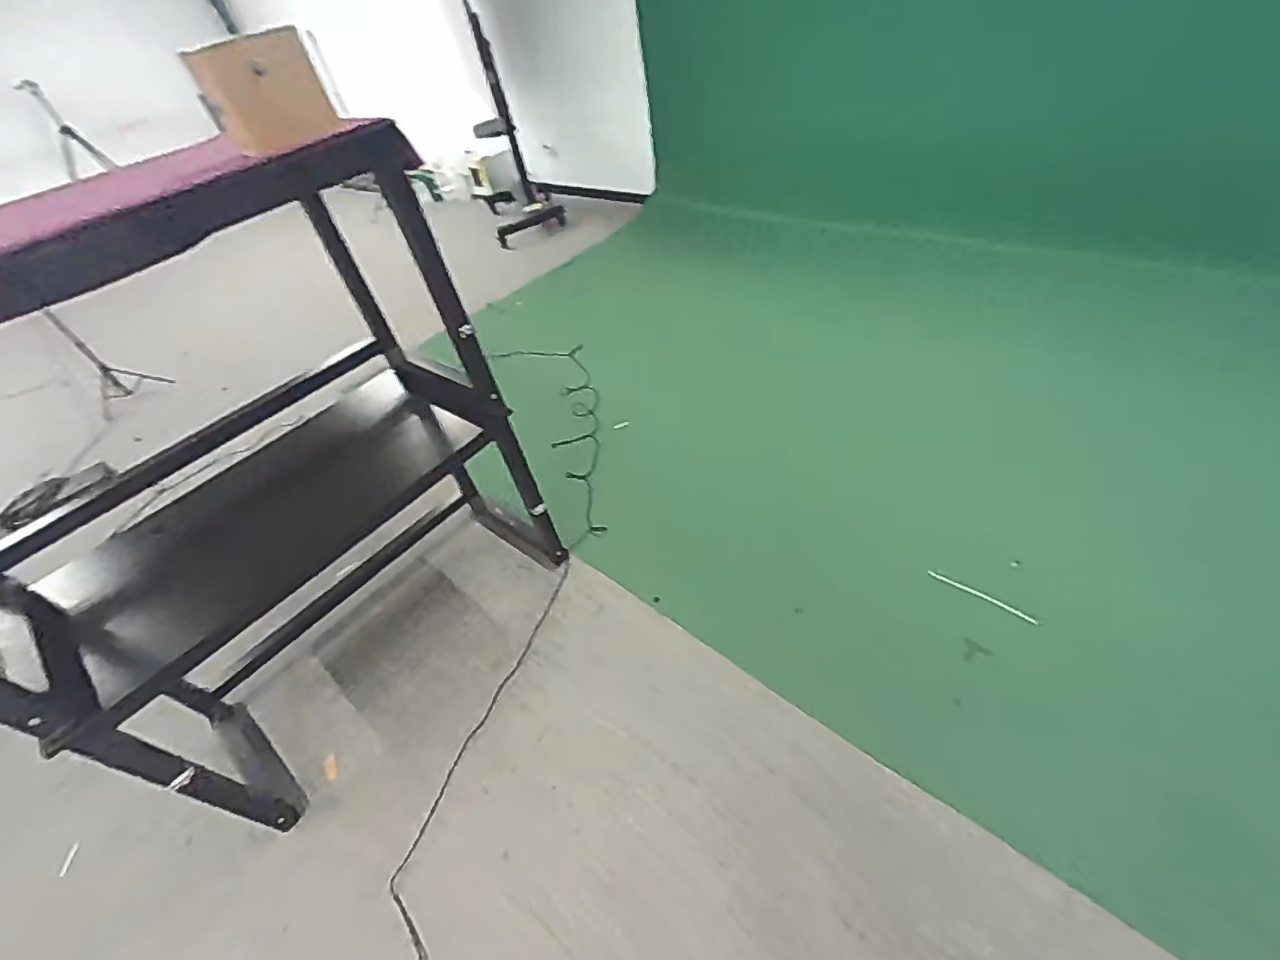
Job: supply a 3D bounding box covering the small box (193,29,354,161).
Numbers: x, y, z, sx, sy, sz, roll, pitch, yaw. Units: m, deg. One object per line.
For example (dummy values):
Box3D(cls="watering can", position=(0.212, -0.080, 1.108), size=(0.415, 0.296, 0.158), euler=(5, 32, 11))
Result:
Box3D(cls="small box", position=(-0.698, -0.737, 1.042), size=(0.179, 0.176, 0.168), euler=(-39, 51, -24))
